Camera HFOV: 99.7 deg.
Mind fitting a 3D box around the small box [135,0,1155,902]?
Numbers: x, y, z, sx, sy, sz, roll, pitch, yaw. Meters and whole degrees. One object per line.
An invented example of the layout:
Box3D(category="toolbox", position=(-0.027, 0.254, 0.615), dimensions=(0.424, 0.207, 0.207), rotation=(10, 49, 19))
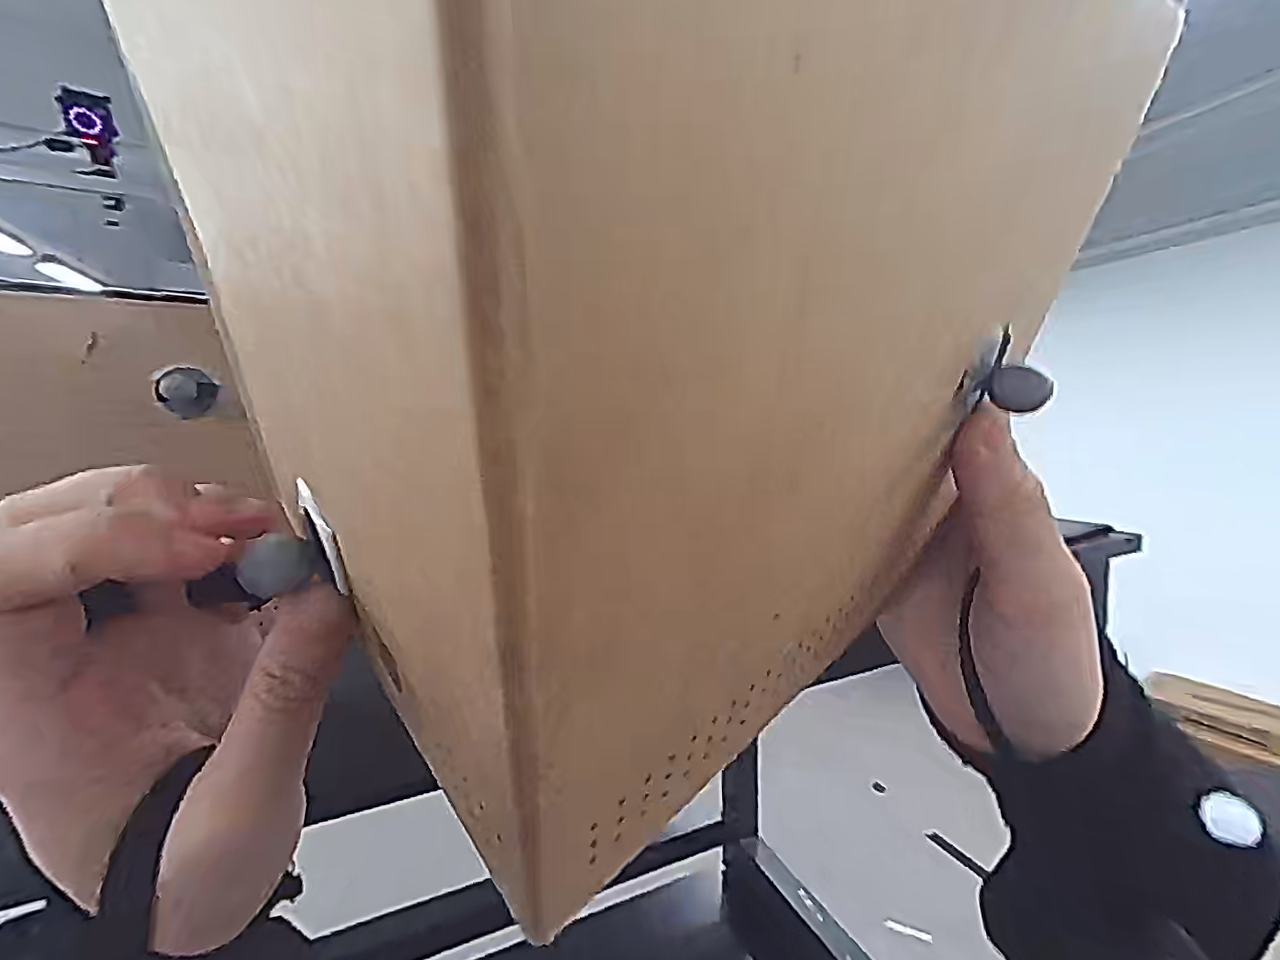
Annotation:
Box3D(category="small box", position=(-0.004, -0.039, 0.163), dimensions=(0.179, 0.176, 0.168), rotation=(-24, 41, -37))

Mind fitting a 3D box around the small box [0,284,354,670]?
Box3D(category="small box", position=(-0.226, -0.003, 0.326), dimensions=(0.179, 0.176, 0.168), rotation=(-4, 4, -27))
